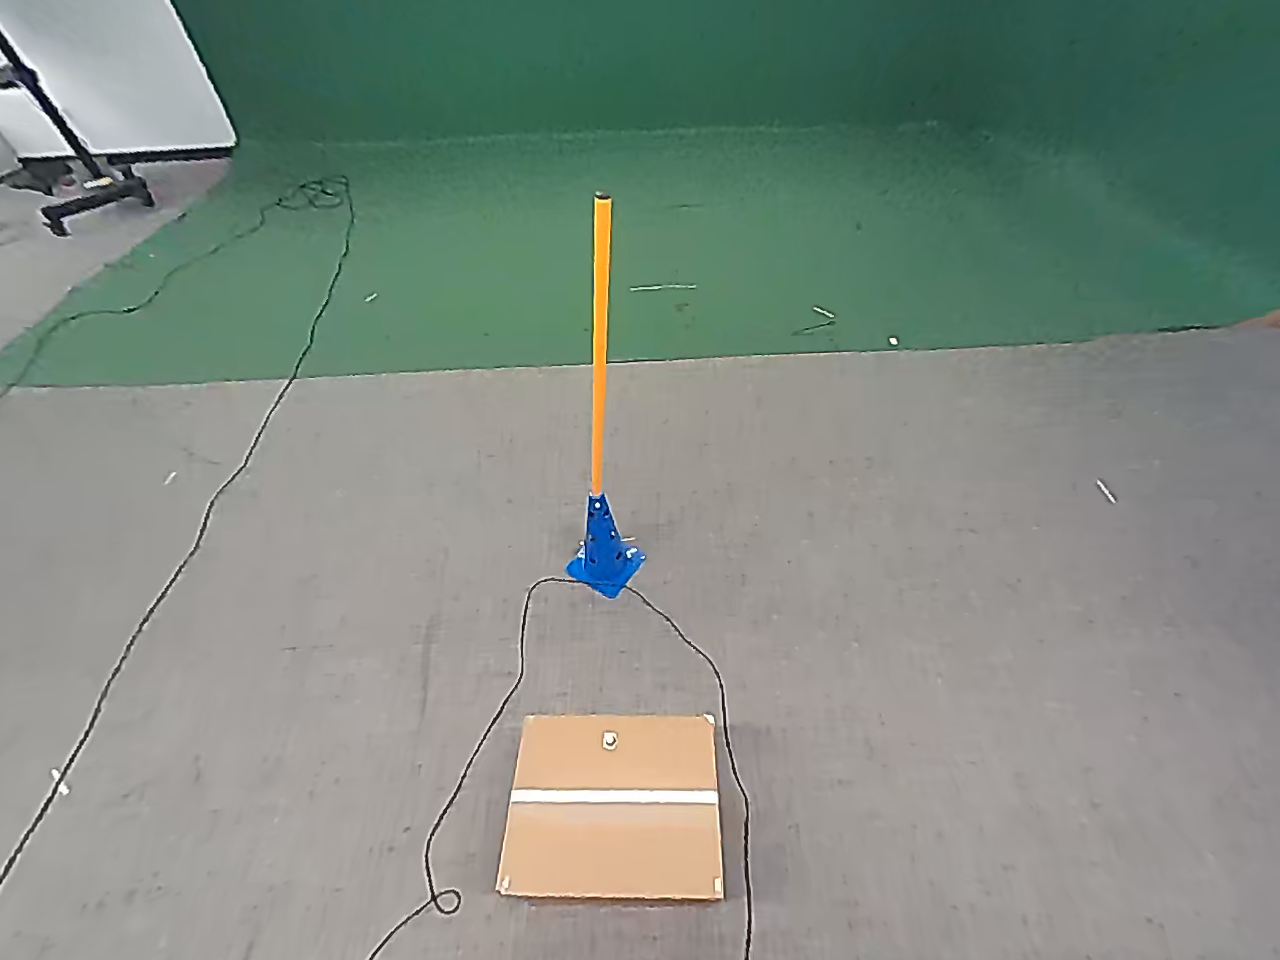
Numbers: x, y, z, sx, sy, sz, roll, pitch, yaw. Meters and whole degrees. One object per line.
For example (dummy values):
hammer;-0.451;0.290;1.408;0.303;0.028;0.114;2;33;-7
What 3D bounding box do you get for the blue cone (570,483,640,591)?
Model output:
blue cone;-0.115;0.144;1.626;0.192;0.380;0.193;24;52;20
